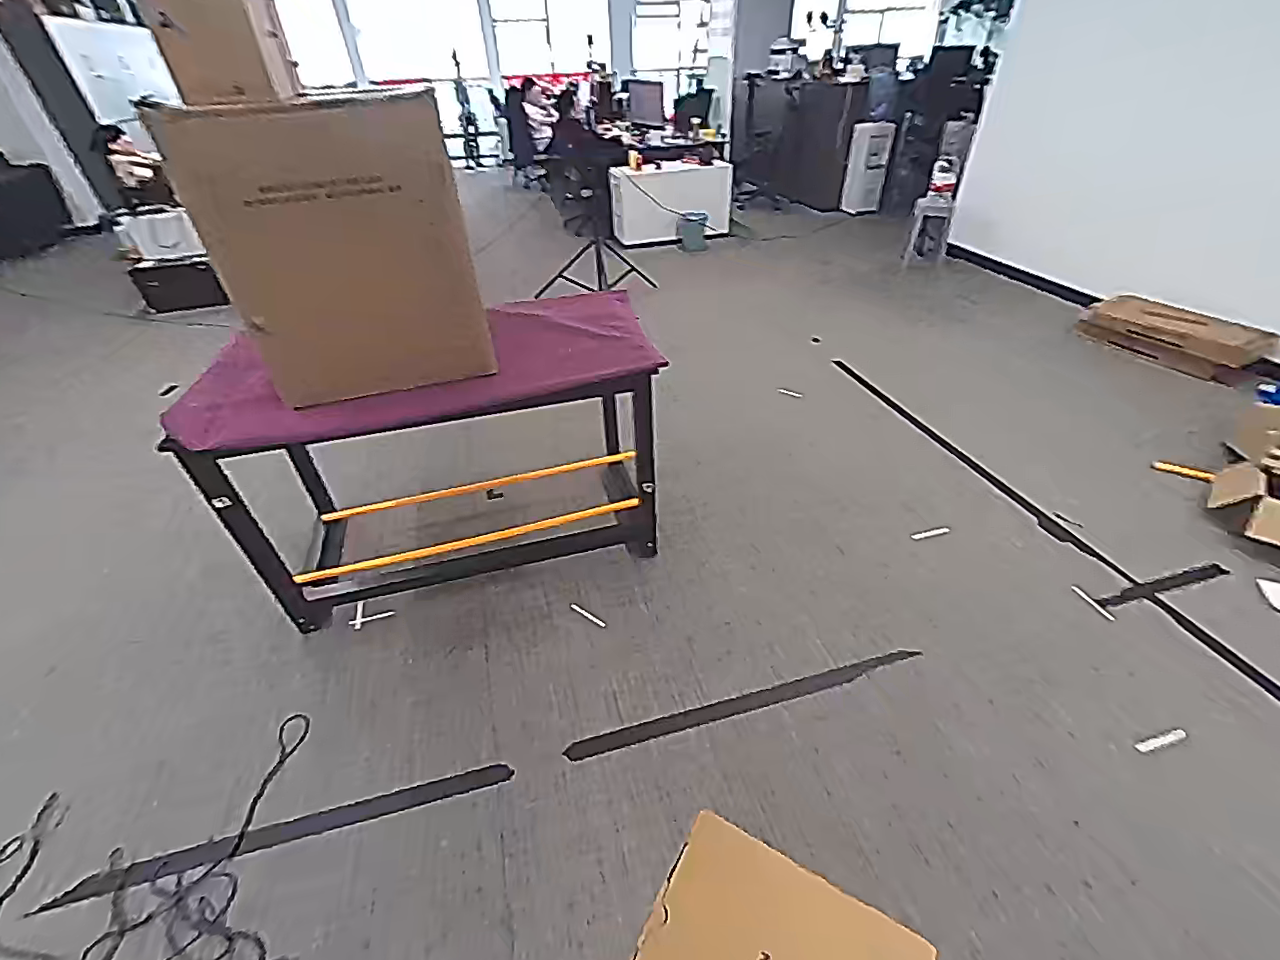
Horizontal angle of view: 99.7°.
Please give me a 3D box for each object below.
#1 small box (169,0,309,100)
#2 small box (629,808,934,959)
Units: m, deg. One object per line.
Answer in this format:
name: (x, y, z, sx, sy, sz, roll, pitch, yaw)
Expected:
small box: (-0.845, -0.922, 1.160, 0.179, 0.176, 0.168, -13, 40, -15)
small box: (0.072, 0.379, 0.362, 0.179, 0.176, 0.168, 19, 30, 20)
